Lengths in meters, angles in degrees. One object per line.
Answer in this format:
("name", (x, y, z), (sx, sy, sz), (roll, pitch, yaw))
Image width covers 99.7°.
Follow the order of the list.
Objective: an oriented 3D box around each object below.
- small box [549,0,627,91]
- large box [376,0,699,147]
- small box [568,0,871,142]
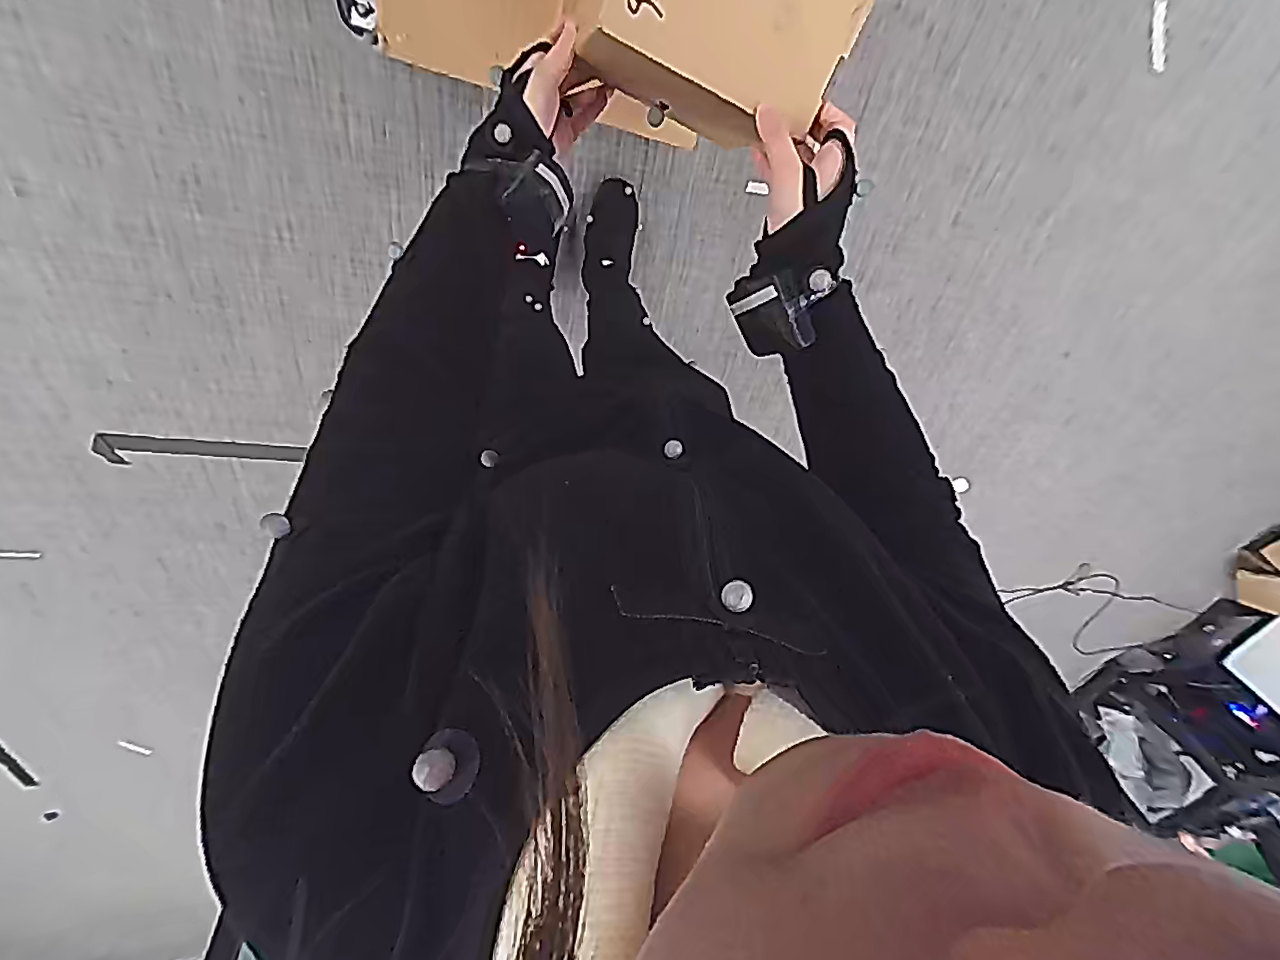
("small box", (0.010, -0.502, 0.561), (0.179, 0.176, 0.168), (10, 126, -19))
("large box", (-0.099, -0.683, 0.712), (0.408, 0.320, 0.320), (7, 125, -16))
("small box", (0.060, -0.384, 0.410), (0.179, 0.176, 0.168), (13, 115, -23))
